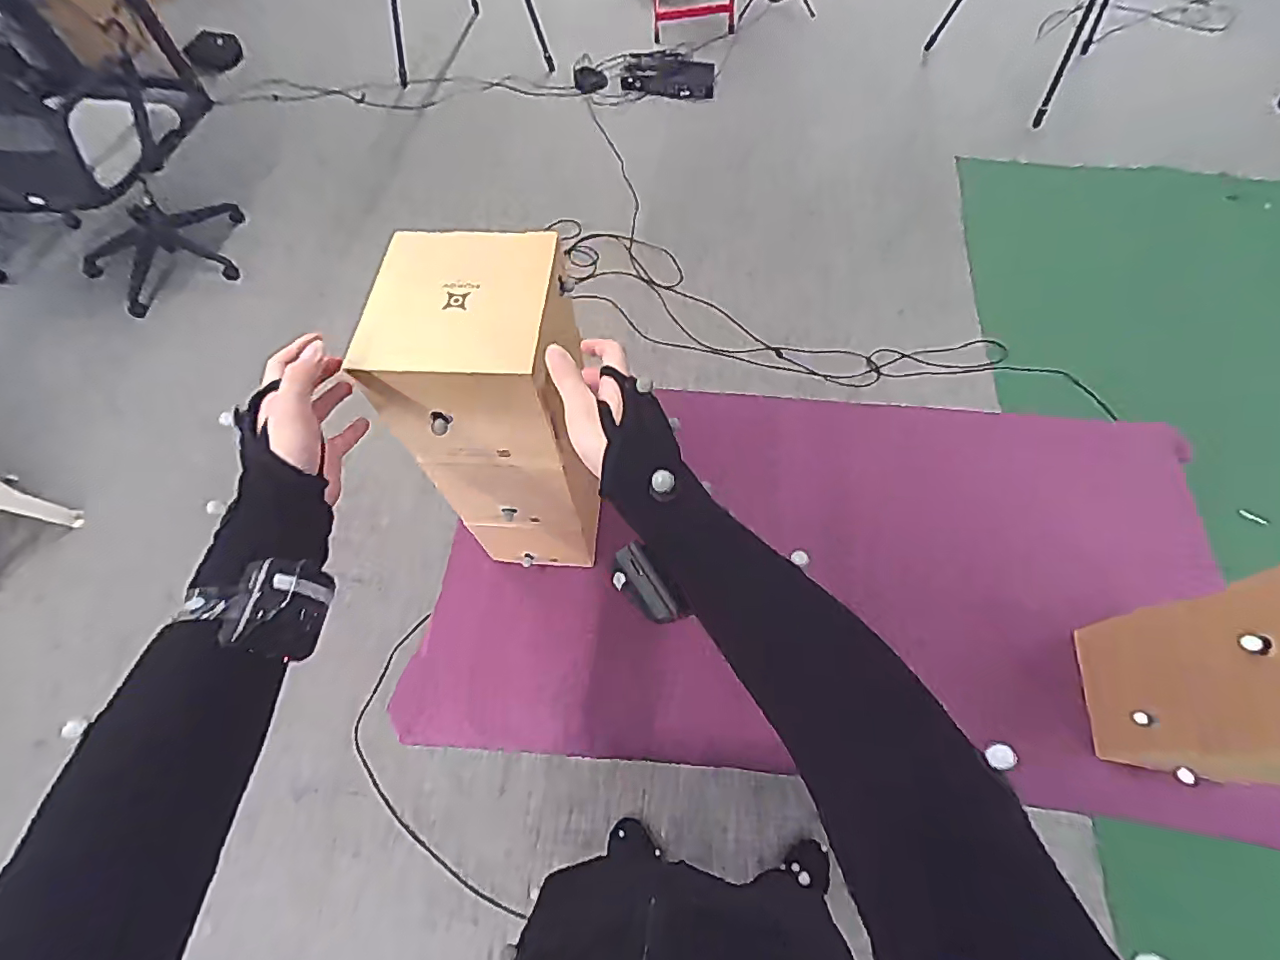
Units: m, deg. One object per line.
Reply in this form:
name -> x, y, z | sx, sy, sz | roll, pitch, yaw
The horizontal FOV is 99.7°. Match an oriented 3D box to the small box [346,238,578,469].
small box -> -0.163, -0.123, 0.563 | 0.168, 0.176, 0.179 | 2, 62, 3

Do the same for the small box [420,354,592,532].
small box -> -0.158, -0.047, 0.707 | 0.168, 0.176, 0.179 | 2, 63, 4

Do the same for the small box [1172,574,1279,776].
small box -> 0.705, 0.202, 0.546 | 0.168, 0.176, 0.179 | 8, 61, 8

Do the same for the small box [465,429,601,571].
small box -> -0.155, 0.030, 0.851 | 0.168, 0.176, 0.179 | 2, 63, 3
